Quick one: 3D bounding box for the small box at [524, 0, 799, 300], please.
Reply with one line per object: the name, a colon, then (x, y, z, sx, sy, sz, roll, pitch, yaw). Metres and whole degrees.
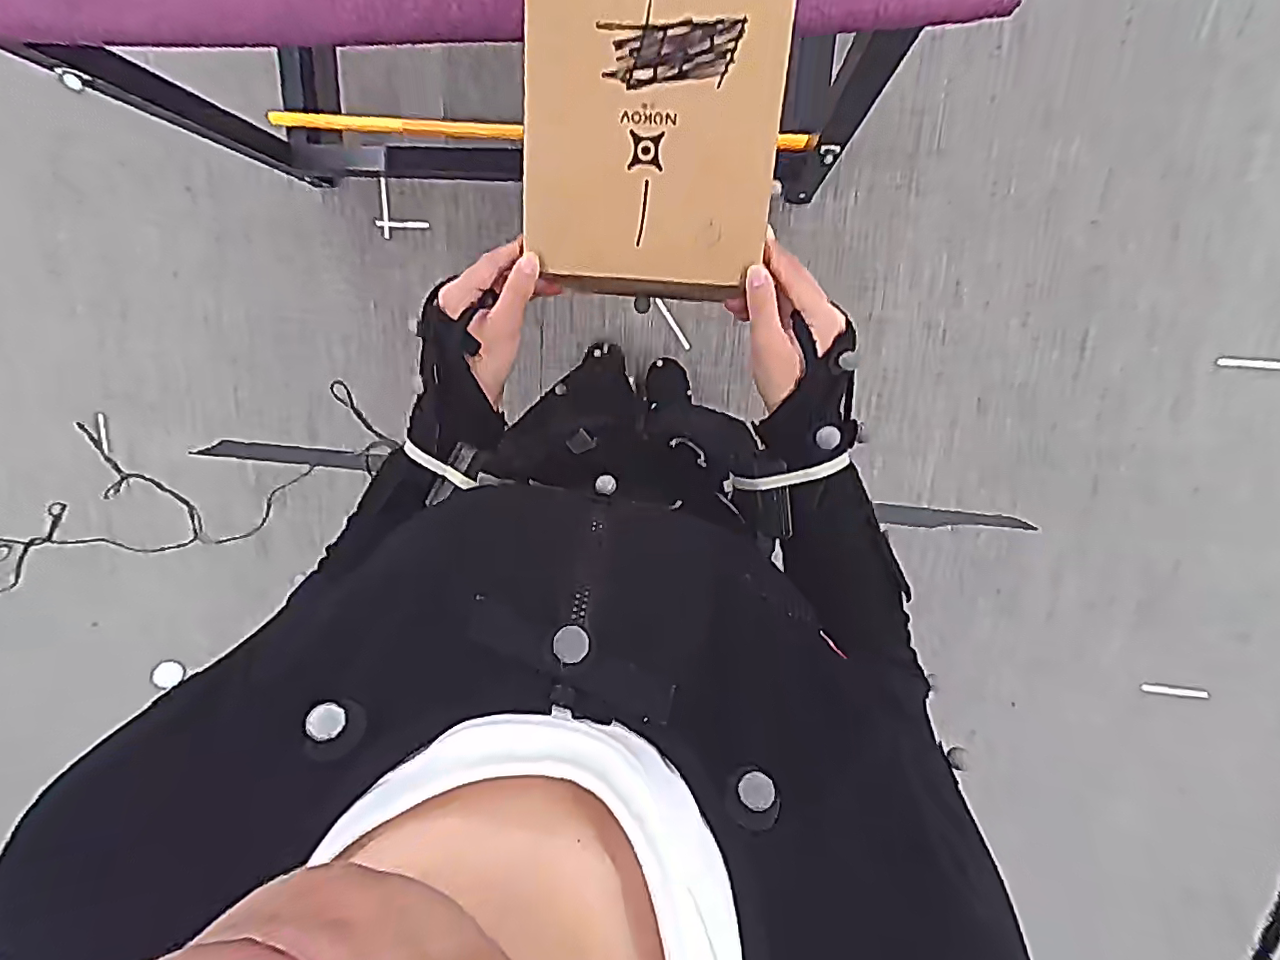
small box: (0.014, -0.246, 0.426, 0.168, 0.176, 0.179, 6, 104, 3)
